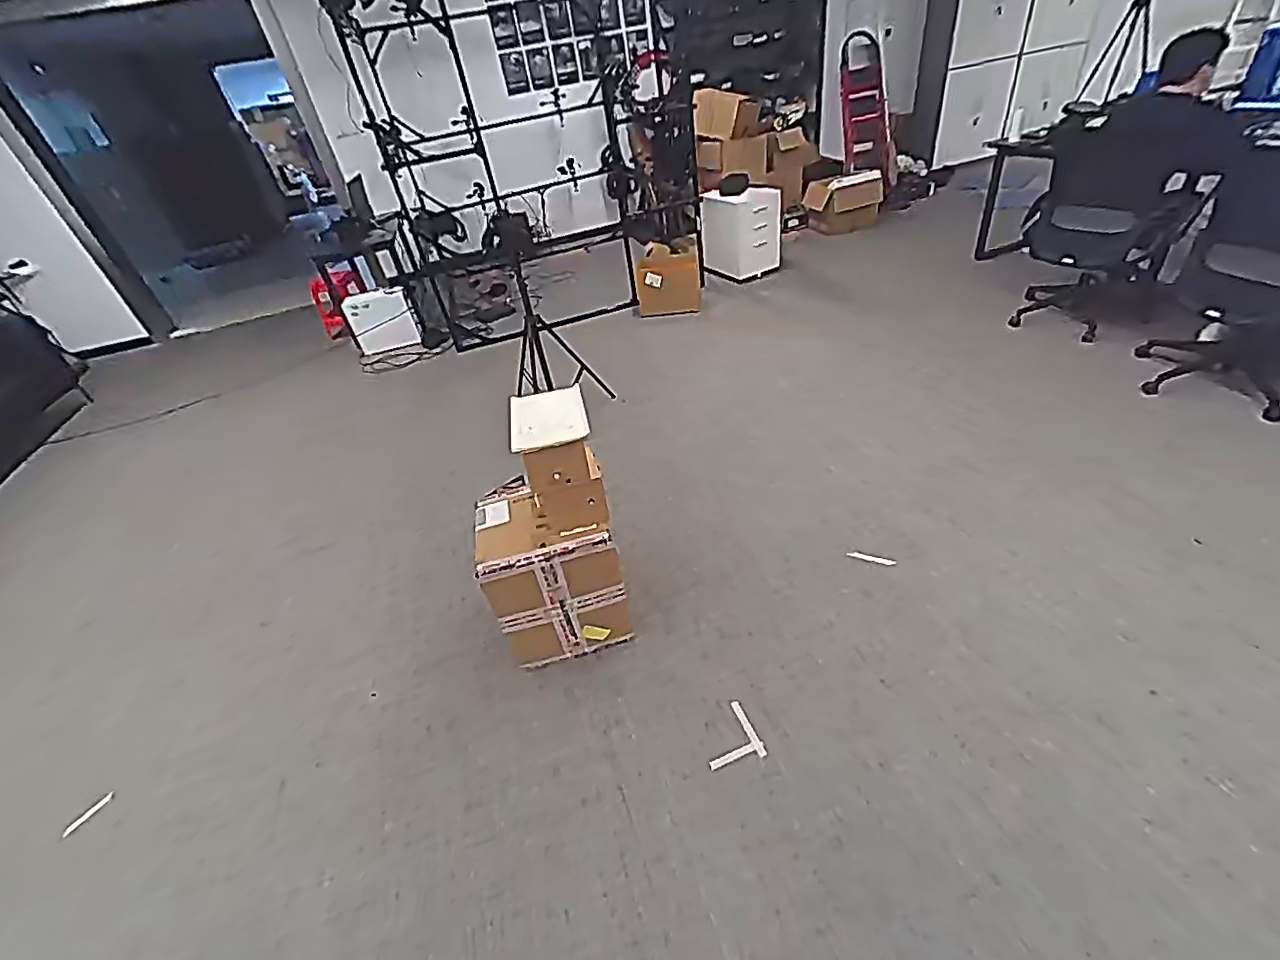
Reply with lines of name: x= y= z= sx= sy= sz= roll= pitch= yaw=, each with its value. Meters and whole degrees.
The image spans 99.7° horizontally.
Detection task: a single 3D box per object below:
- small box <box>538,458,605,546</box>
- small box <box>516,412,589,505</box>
small box: x=-0.202 y=0.065 z=1.571 sx=0.179 sy=0.176 sz=0.168 roll=-14 pitch=39 yaw=-8
small box: x=-0.237 y=-0.058 z=1.465 sx=0.168 sy=0.176 sz=0.179 roll=-11 pitch=39 yaw=-6
